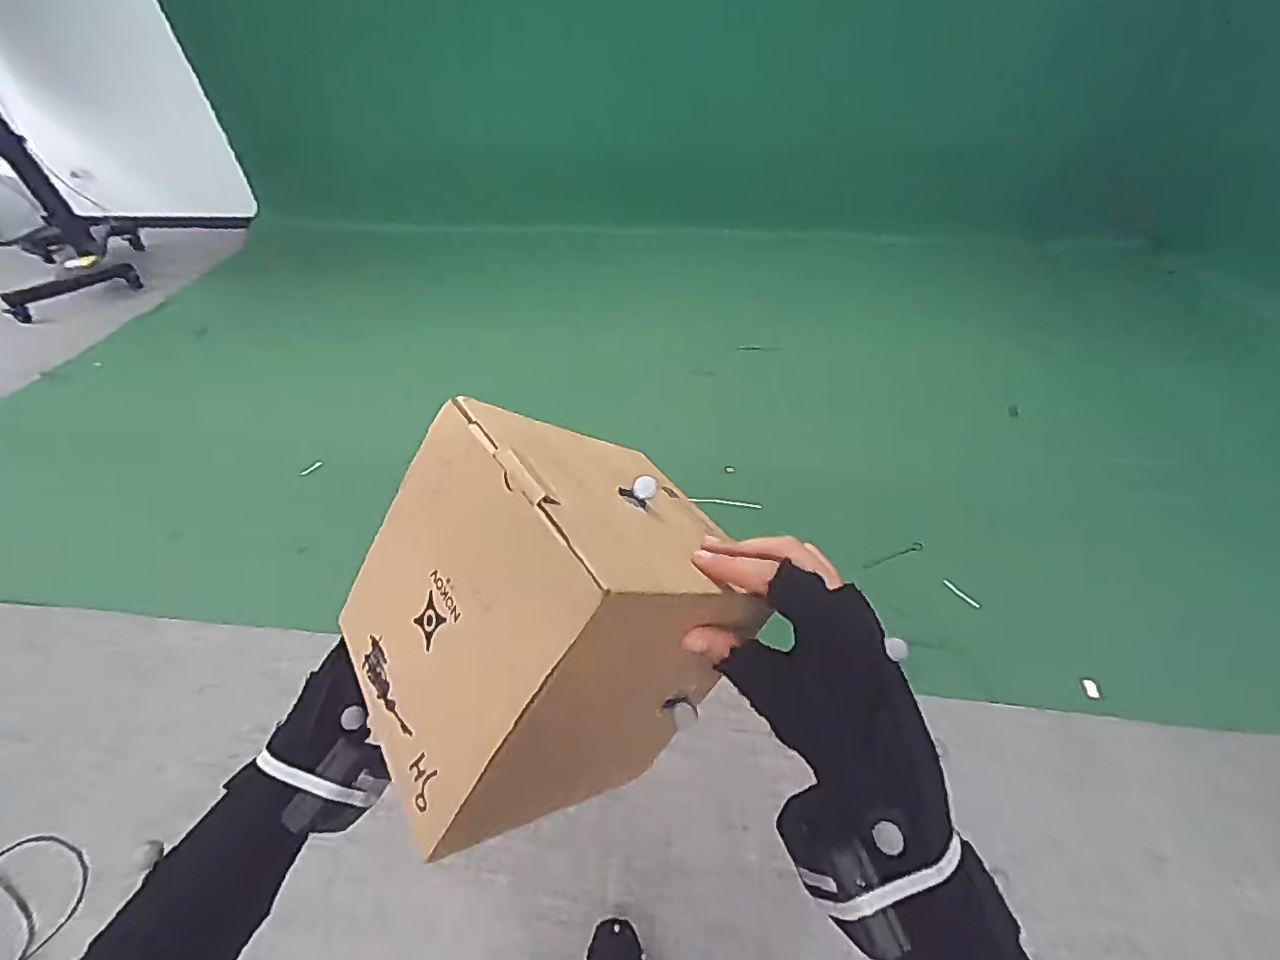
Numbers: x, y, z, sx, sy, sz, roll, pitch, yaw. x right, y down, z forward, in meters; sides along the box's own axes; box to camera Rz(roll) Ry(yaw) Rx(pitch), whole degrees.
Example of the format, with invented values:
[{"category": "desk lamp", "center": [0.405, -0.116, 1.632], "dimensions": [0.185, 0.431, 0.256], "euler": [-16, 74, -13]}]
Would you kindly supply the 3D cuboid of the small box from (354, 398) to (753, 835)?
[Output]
[{"category": "small box", "center": [-0.051, 0.079, 0.357], "dimensions": [0.176, 0.179, 0.168], "euler": [16, 23, -49]}]
